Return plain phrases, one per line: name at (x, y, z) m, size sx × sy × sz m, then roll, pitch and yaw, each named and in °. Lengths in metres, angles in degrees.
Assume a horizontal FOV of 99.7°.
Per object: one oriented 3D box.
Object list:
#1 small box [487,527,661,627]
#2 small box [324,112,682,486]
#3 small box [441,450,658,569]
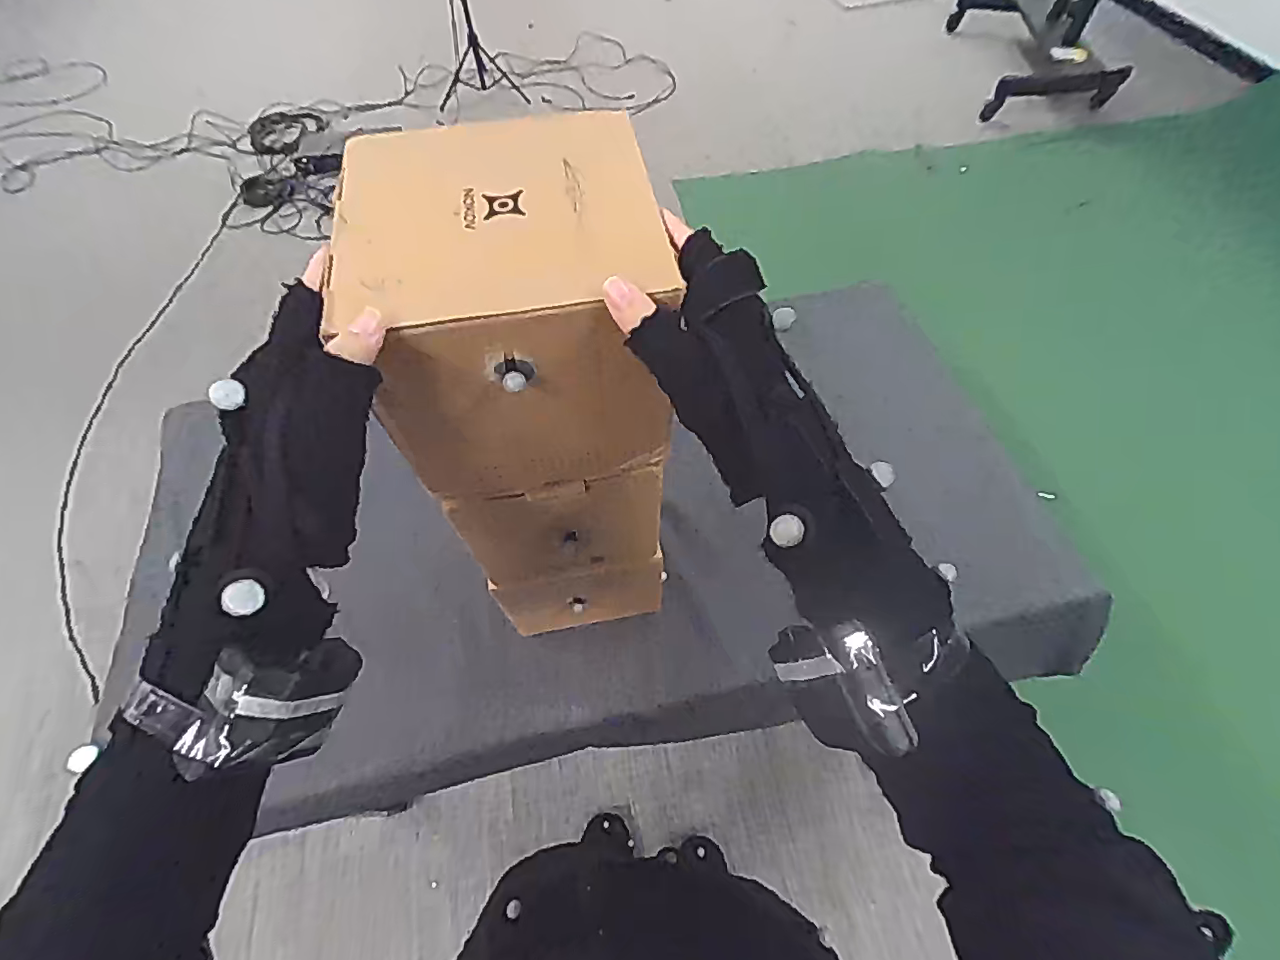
small box at (-0.077, 0.062, 0.643) m, size 0.179 × 0.176 × 0.168 m, roll -10°, pitch 60°, yaw -4°
small box at (-0.077, -0.110, 0.366) m, size 0.179 × 0.176 × 0.168 m, roll -9°, pitch 62°, yaw -6°
small box at (-0.080, -0.028, 0.506) m, size 0.168 × 0.176 × 0.179 m, roll -11°, pitch 61°, yaw -6°
